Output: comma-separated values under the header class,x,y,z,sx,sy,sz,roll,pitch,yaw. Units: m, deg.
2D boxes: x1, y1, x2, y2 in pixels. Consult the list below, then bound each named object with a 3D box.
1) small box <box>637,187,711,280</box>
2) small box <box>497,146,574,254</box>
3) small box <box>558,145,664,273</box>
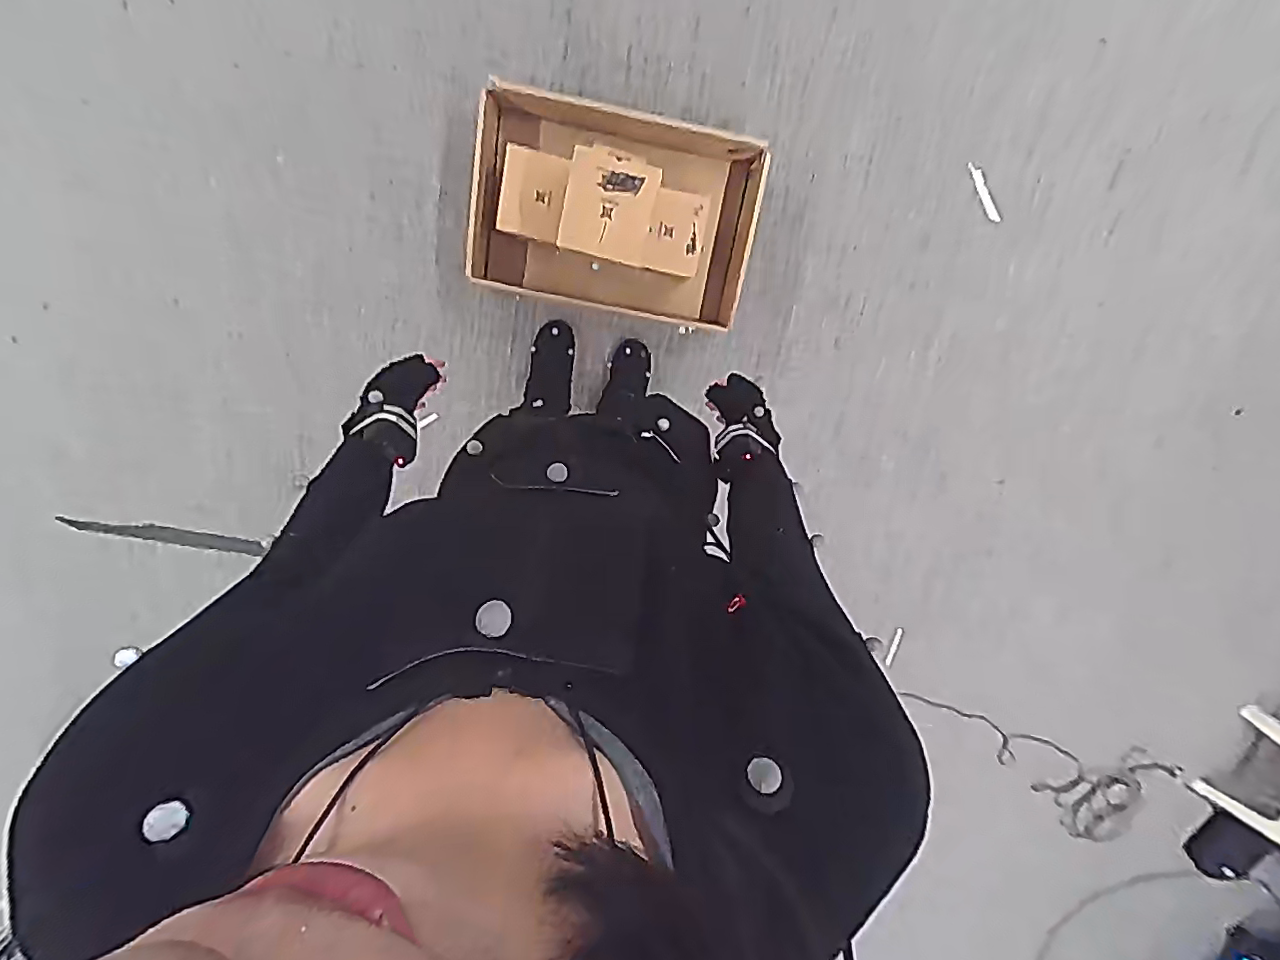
class,x,y,z,sx,sy,sz,roll,pitch,yaw
small box,0.052,-0.563,1.245,0.179,0.176,0.168,11,107,-4
small box,-0.207,-0.616,1.213,0.179,0.176,0.168,12,106,-6
small box,-0.060,-0.527,1.078,0.168,0.176,0.179,13,107,-6
